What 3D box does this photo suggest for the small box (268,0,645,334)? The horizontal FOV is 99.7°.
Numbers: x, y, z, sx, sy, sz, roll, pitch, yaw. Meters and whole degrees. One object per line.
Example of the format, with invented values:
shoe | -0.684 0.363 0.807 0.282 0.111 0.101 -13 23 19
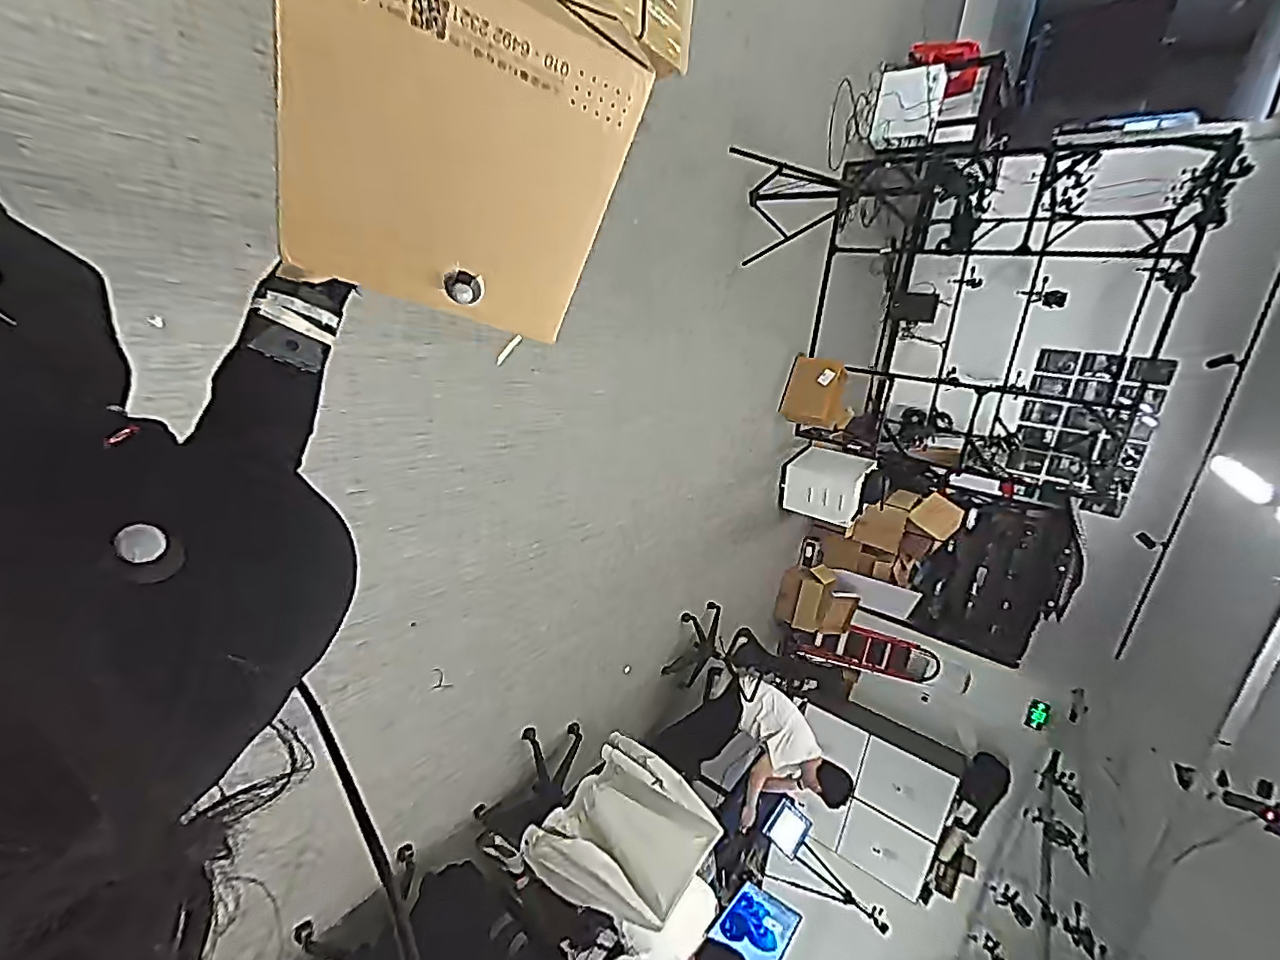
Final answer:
small box | -0.109 -0.229 0.337 0.168 0.179 0.176 13 134 -22
